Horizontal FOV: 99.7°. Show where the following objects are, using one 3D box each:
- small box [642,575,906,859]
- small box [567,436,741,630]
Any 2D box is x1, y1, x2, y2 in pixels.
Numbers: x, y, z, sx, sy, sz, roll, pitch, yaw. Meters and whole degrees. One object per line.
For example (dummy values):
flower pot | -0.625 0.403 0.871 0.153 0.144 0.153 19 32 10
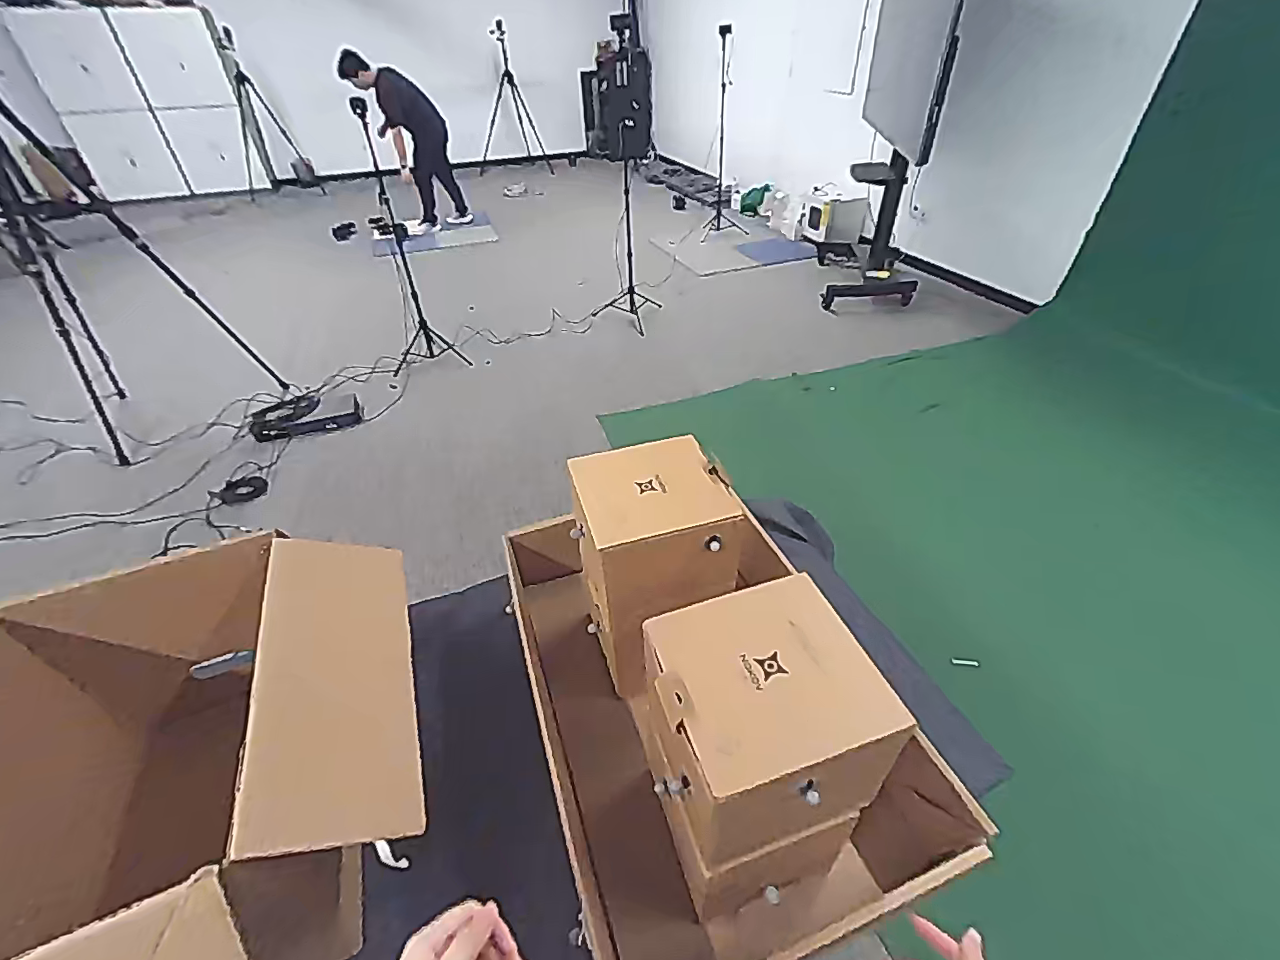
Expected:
small box | 0.111 0.226 0.520 0.179 0.176 0.168 -14 42 -13
small box | 0.014 0.070 0.707 0.179 0.176 0.168 -13 43 -13
